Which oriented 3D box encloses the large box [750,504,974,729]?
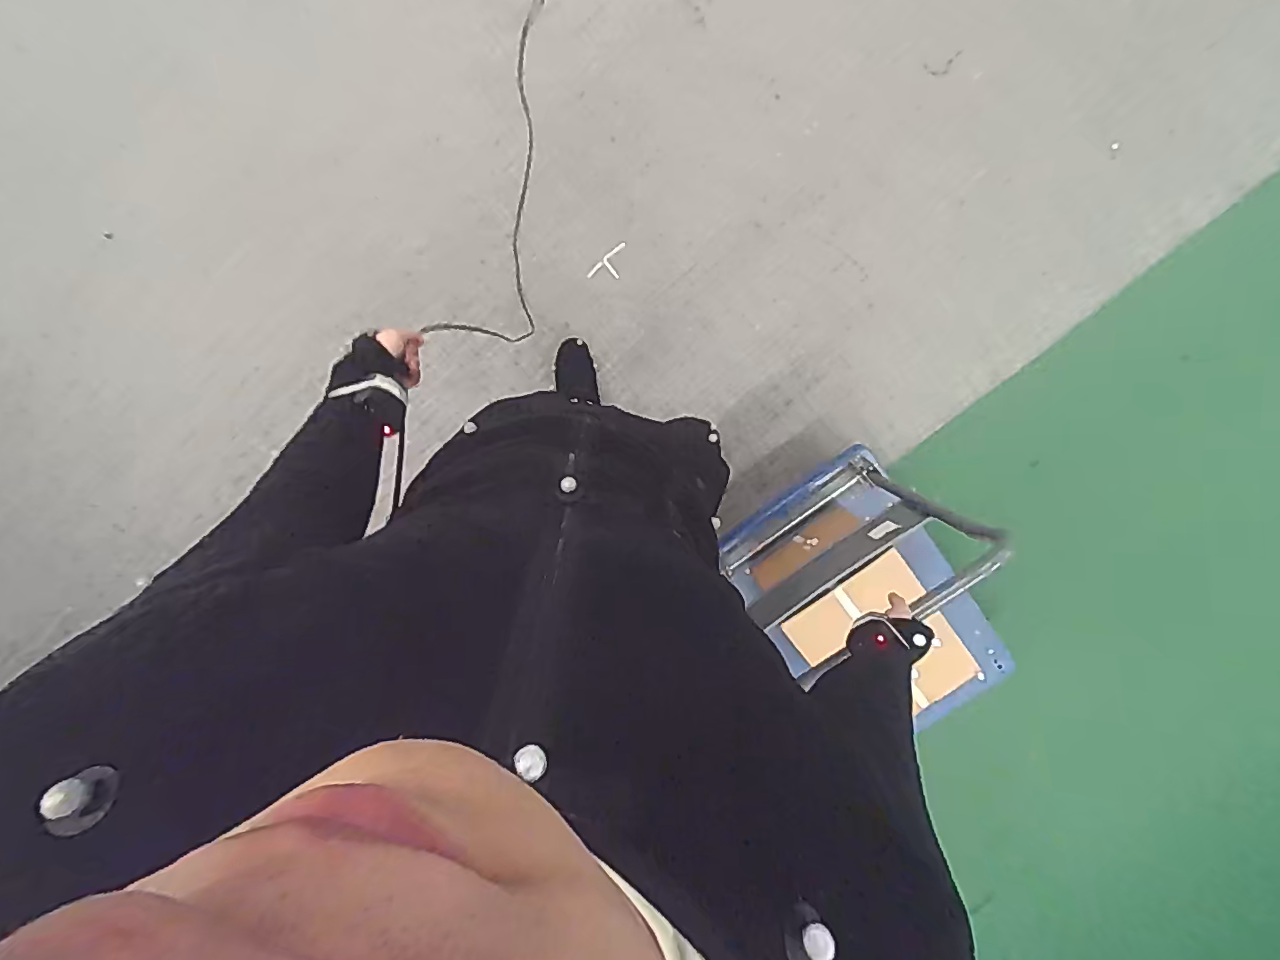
[{"bbox_3d":[0.549,0.336,1.407,0.320,0.320,0.408,-37,103,9],"label":"large box"}]
